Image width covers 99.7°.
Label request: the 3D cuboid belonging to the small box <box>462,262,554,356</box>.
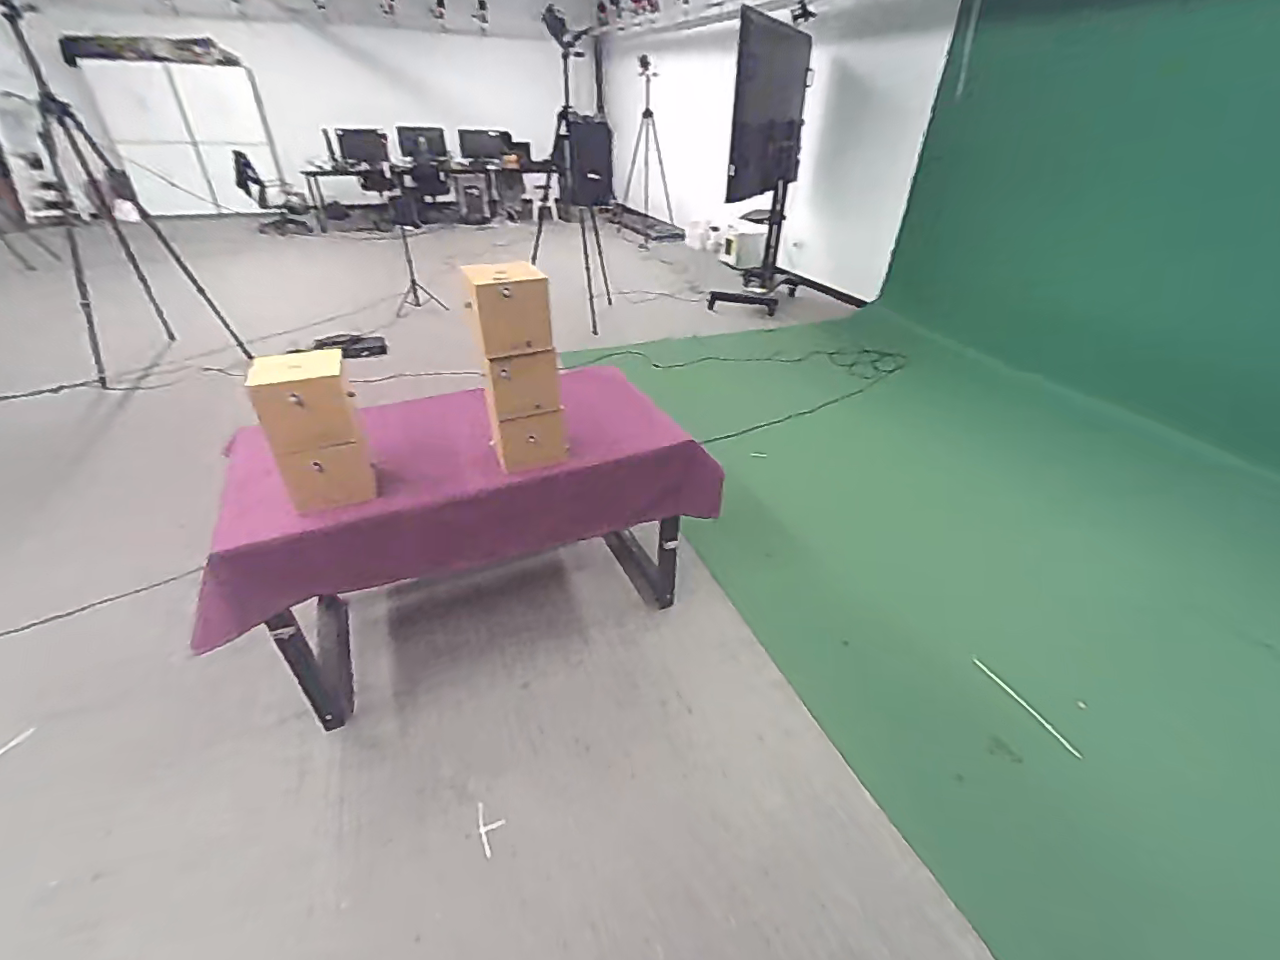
[{"bbox_3d":[-0.309,-0.404,1.271,0.168,0.176,0.179,-15,36,-21],"label":"small box"}]

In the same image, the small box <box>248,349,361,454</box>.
[{"bbox_3d":[-0.744,-0.179,1.223,0.179,0.176,0.168,-14,37,-19],"label":"small box"}]

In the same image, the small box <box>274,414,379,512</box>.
[{"bbox_3d":[-0.751,-0.043,1.313,0.179,0.176,0.168,-12,37,-19],"label":"small box"}]

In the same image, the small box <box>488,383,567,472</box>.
[{"bbox_3d":[-0.302,-0.143,1.472,0.179,0.176,0.168,-14,37,-19],"label":"small box"}]
